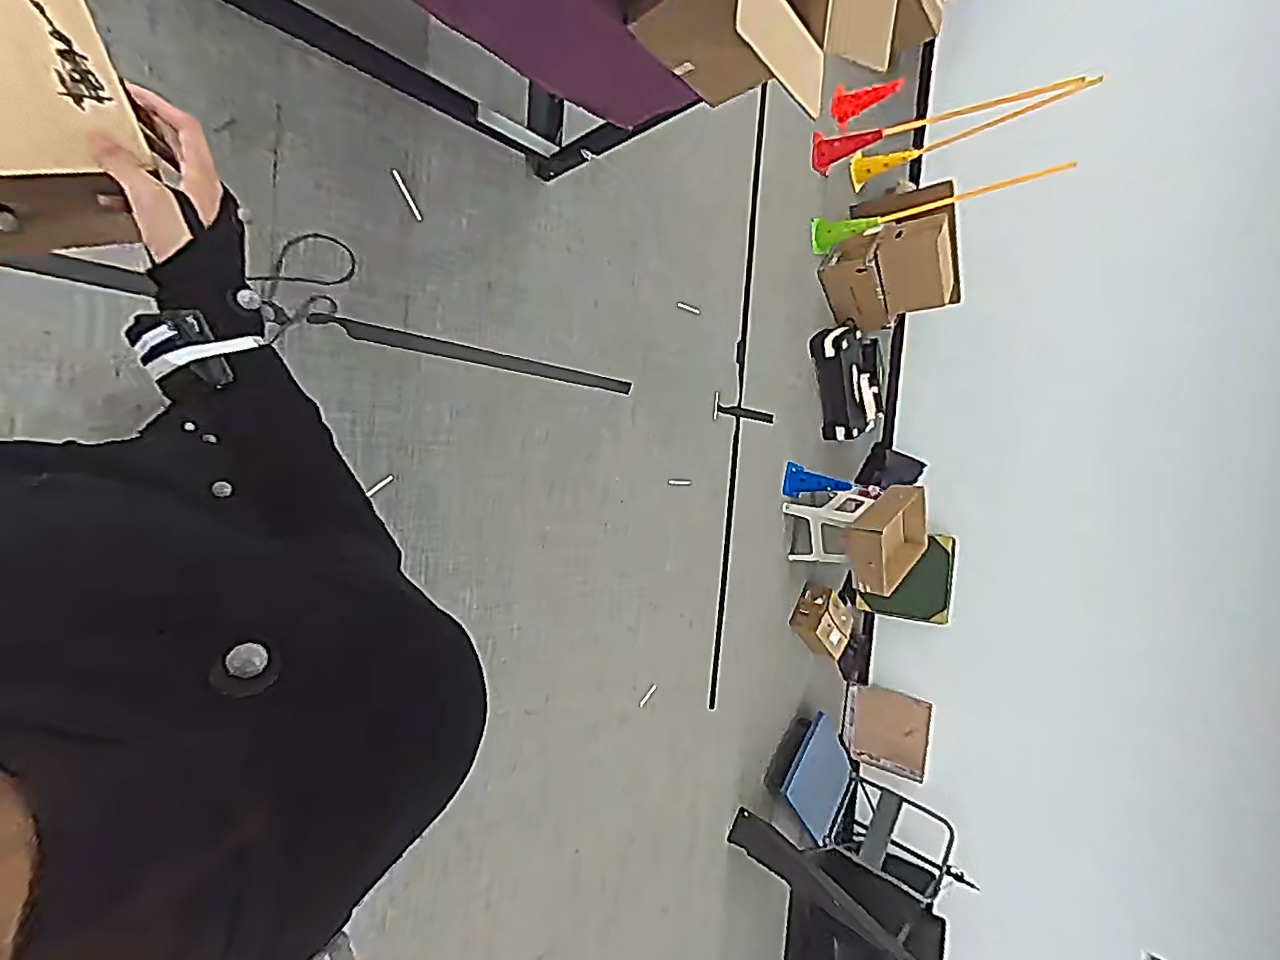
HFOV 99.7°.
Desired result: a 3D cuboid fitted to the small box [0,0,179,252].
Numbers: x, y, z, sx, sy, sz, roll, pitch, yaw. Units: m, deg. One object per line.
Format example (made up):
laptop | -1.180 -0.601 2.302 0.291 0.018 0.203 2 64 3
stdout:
small box | -0.499 -0.285 0.414 0.179 0.176 0.168 -24 107 -32
